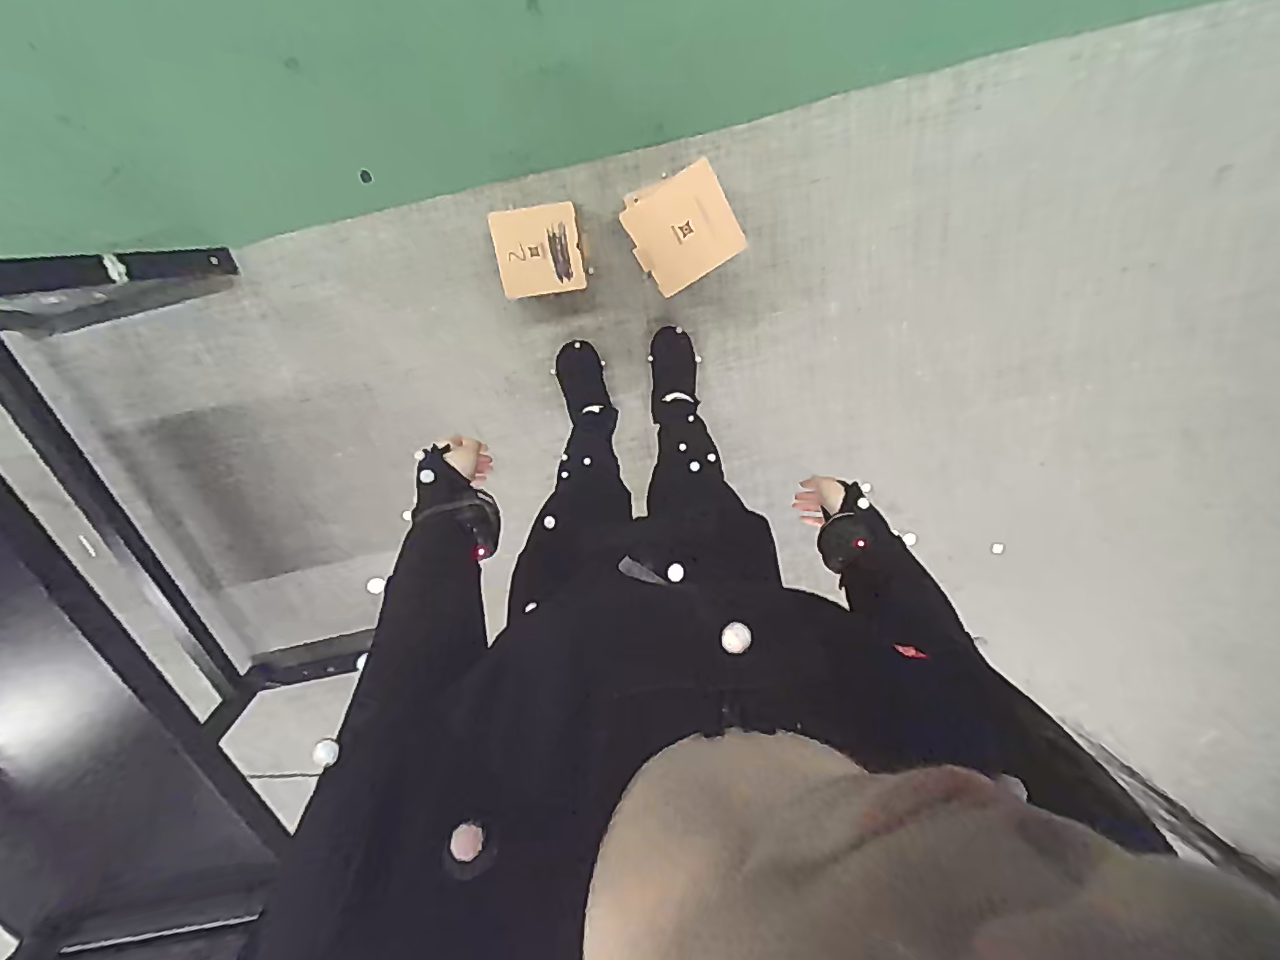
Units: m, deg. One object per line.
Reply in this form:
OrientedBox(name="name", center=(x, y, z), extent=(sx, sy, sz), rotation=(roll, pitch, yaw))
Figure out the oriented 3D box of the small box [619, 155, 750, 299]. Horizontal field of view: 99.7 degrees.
OrientedBox(name="small box", center=(0.076, -0.460, 0.994), extent=(0.179, 0.176, 0.168), rotation=(-31, 114, 11))
